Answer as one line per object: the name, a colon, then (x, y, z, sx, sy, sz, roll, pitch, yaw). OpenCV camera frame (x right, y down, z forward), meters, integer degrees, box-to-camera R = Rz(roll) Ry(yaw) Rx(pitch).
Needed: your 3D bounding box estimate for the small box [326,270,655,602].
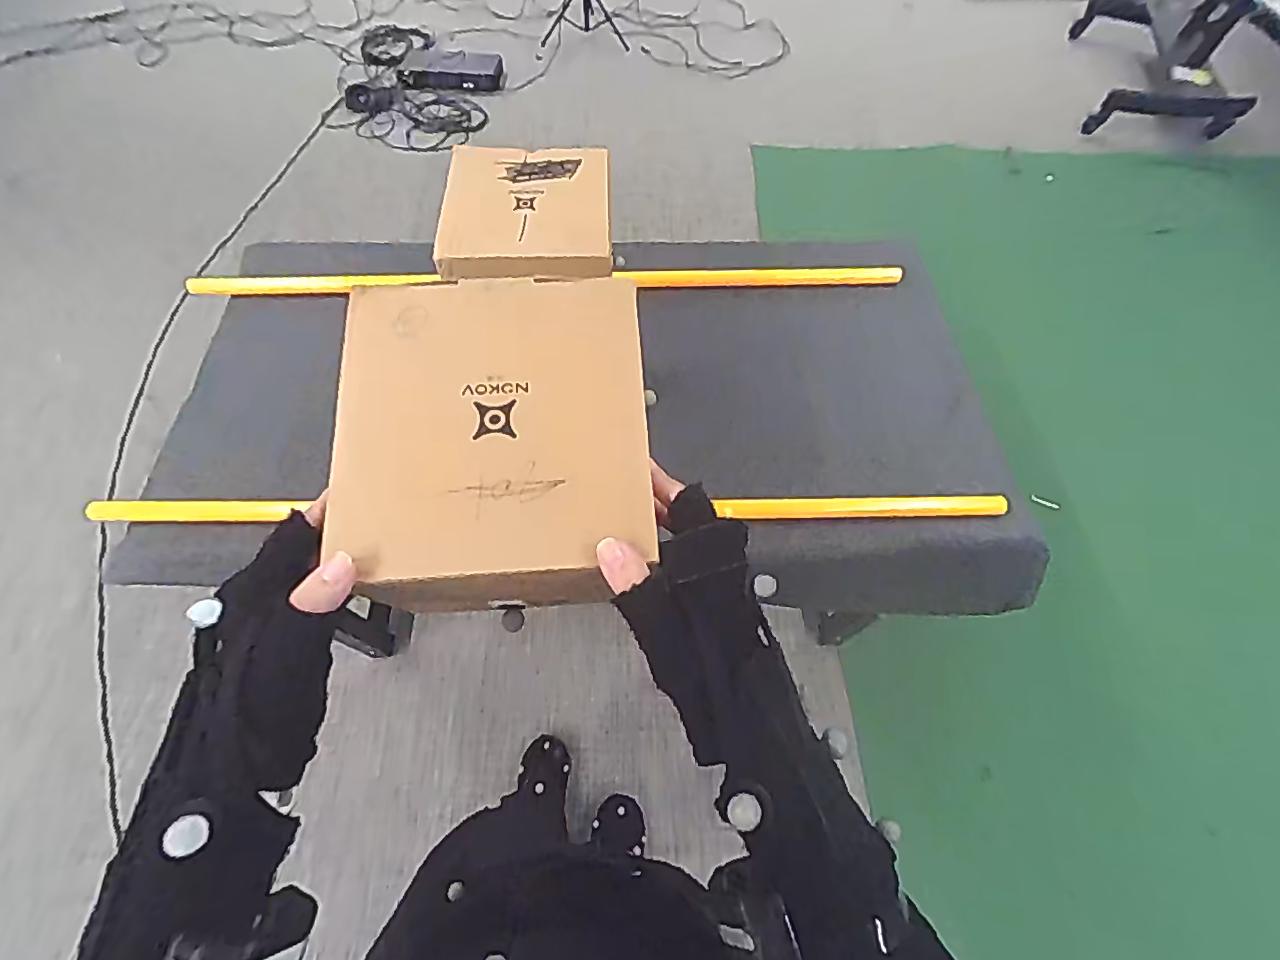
small box: (-0.083, -0.018, 0.372, 0.168, 0.176, 0.179, -3, 72, -4)

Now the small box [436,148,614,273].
small box: (-0.113, -0.244, 0.614, 0.168, 0.176, 0.179, -2, 62, -2)
